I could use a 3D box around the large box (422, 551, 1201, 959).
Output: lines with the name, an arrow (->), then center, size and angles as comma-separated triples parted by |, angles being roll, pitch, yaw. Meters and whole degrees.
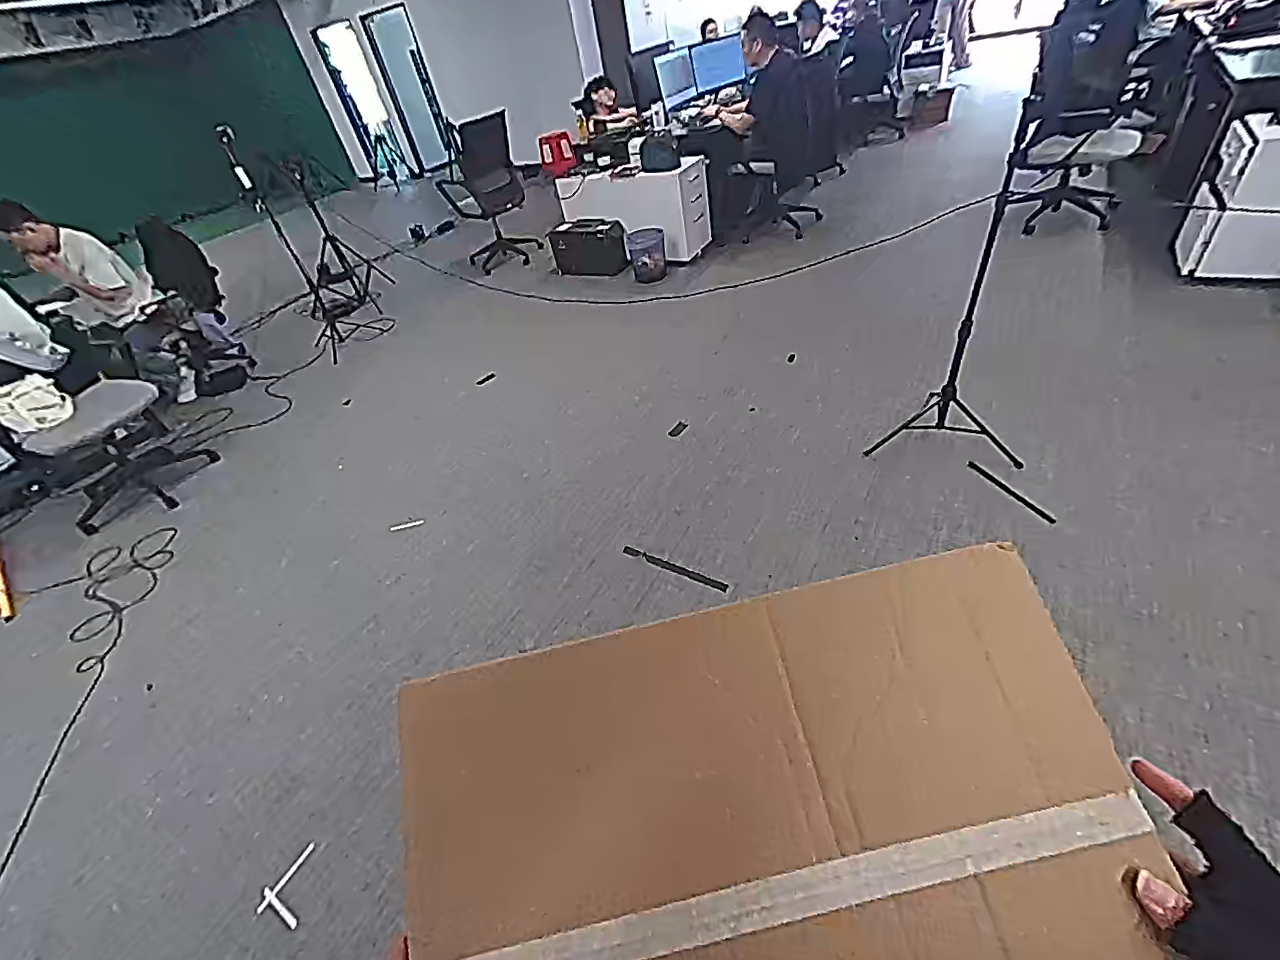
large box -> 0.091, 0.284, 0.440 | 0.408, 0.320, 0.320 | -13, 69, 0
